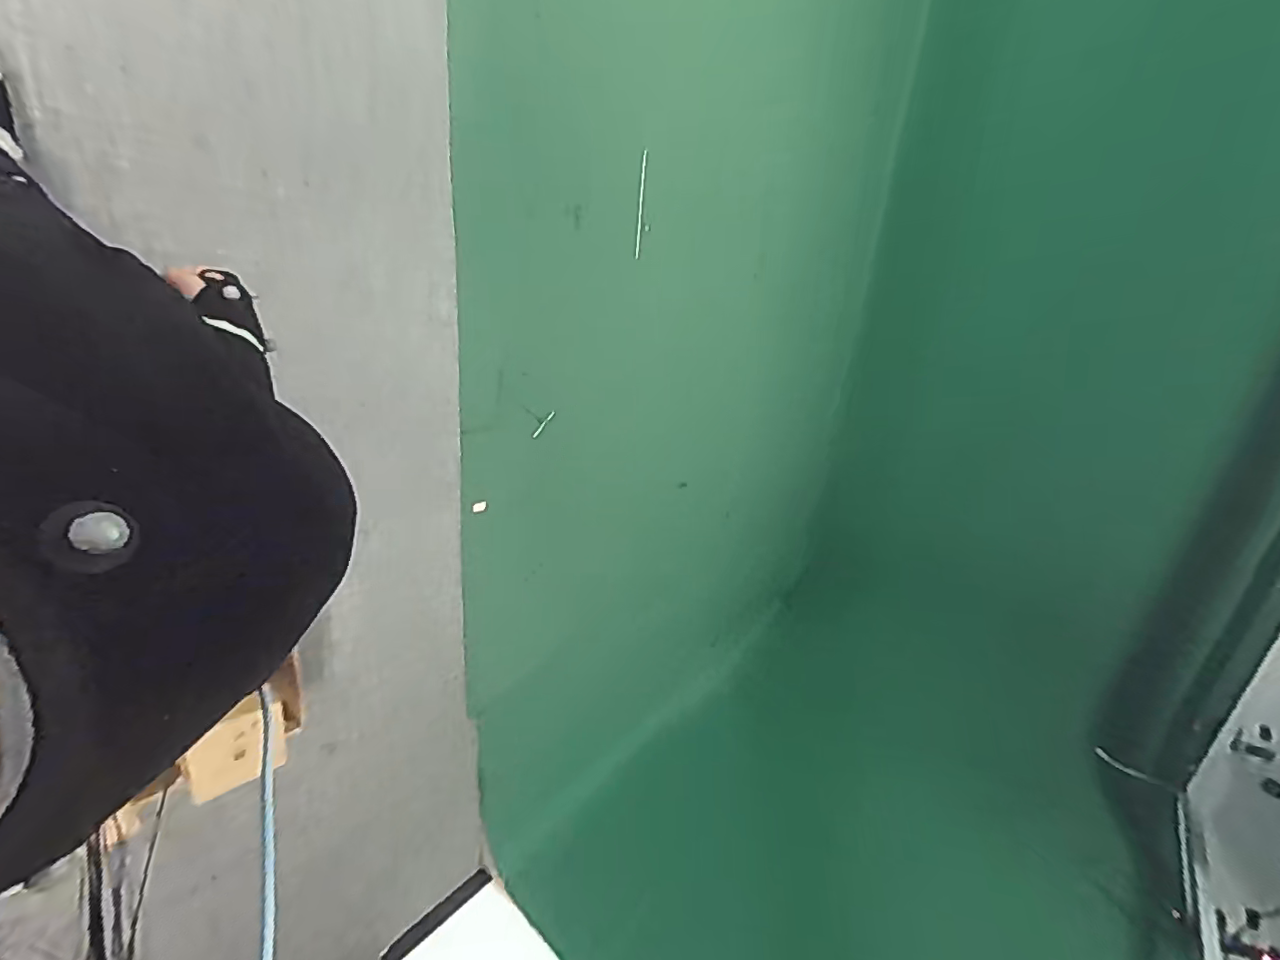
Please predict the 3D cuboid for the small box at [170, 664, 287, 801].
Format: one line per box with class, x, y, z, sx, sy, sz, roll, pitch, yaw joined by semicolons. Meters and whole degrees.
small box;-0.894;0.538;1.179;0.168;0.176;0.179;-13;116;-48
